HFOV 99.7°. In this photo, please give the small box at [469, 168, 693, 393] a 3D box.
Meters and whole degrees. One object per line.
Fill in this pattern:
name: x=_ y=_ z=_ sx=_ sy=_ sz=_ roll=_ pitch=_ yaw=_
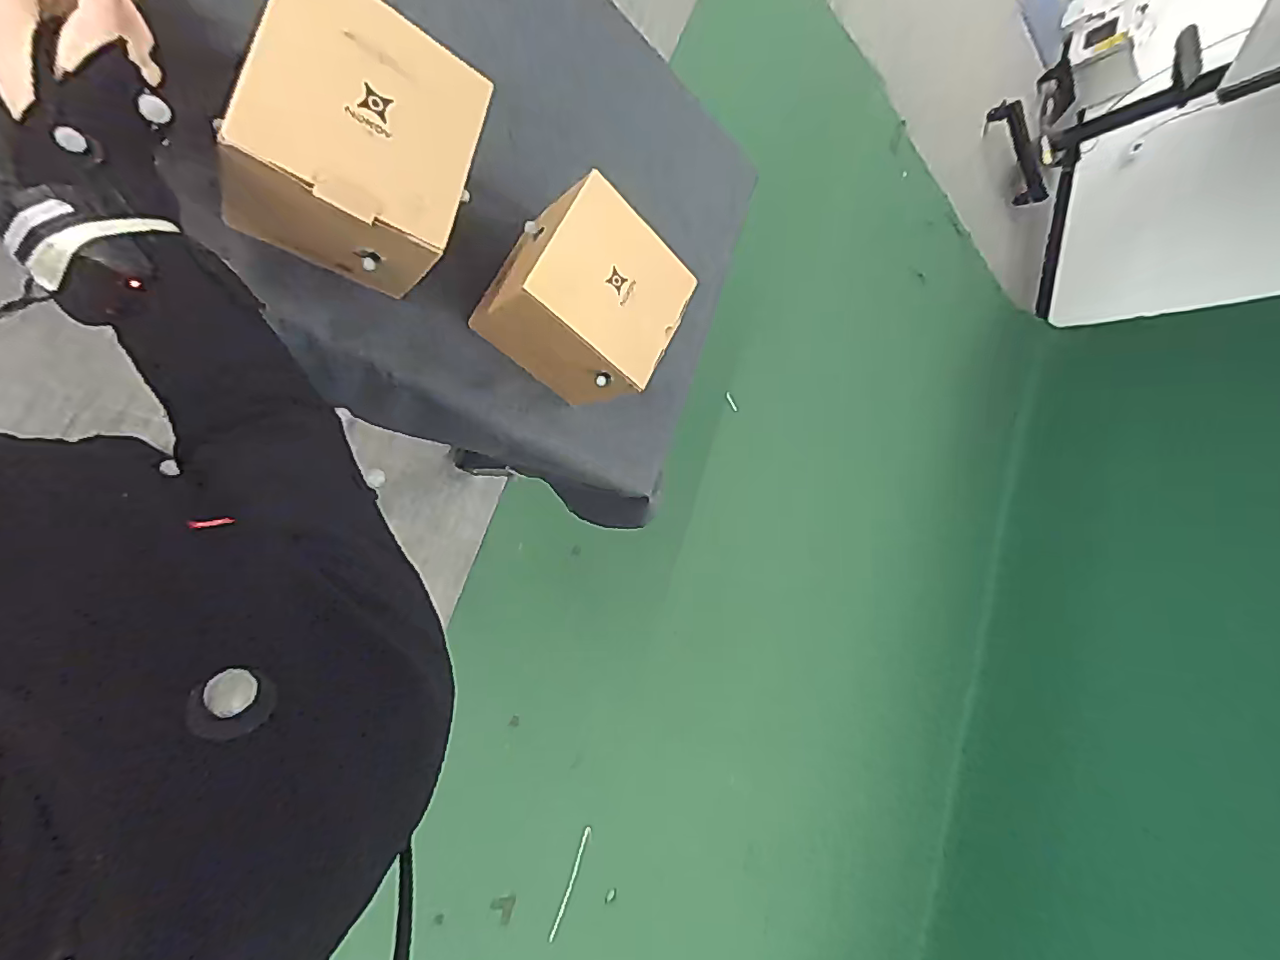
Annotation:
small box: x=-0.075 y=-0.220 z=0.654 sx=0.179 sy=0.176 sz=0.168 roll=36 pitch=70 yaw=-33
